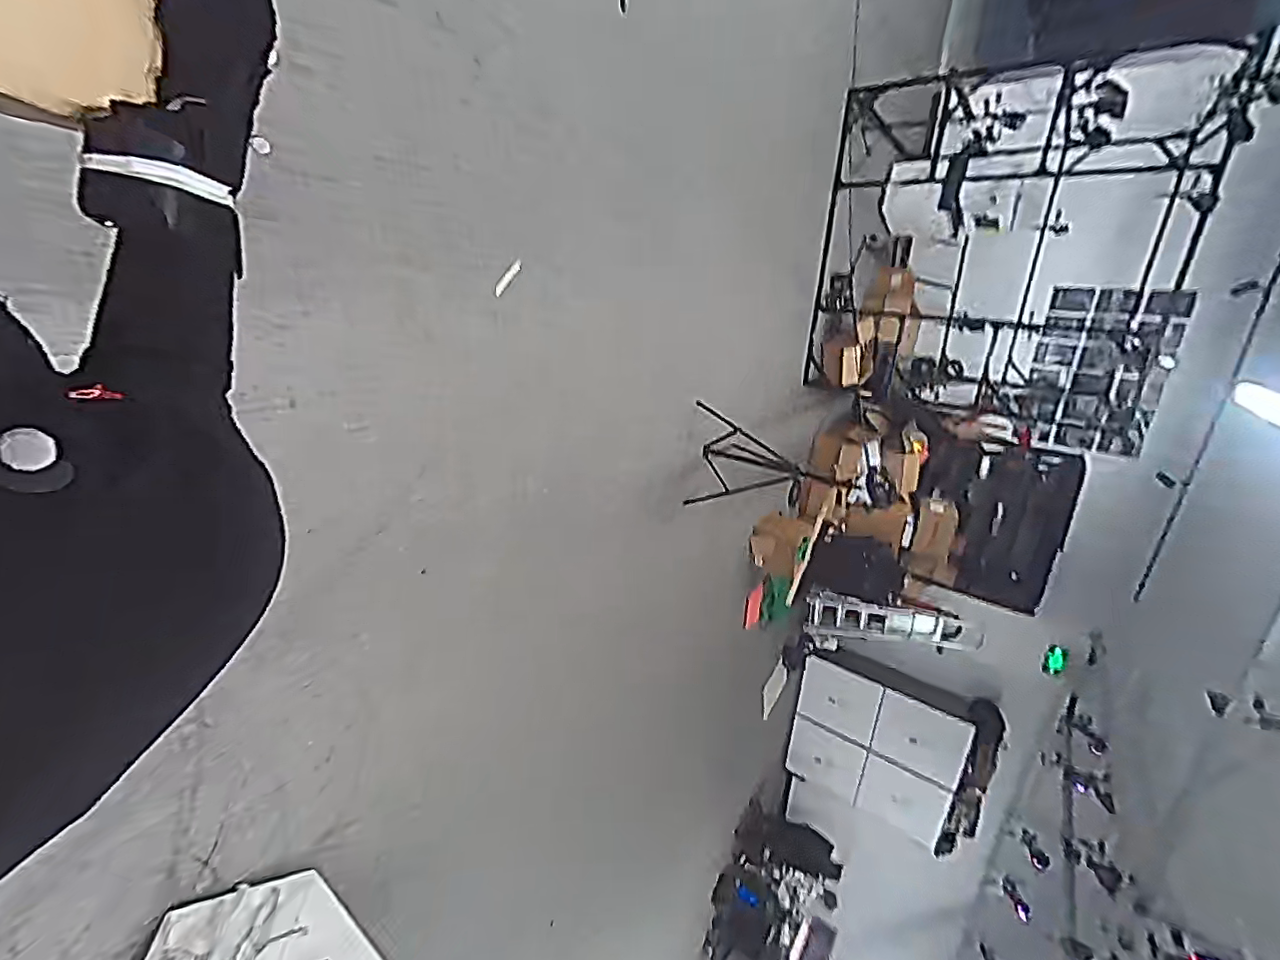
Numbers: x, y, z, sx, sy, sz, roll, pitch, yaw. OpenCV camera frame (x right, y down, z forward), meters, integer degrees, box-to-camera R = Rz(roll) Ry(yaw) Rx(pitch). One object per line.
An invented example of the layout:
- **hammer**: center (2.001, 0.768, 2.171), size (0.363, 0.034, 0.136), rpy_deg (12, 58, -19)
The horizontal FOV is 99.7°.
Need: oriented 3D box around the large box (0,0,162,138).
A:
- **large box**: center (-0.529, -0.427, 0.250), size (0.408, 0.320, 0.320), rpy_deg (-6, 118, -60)
